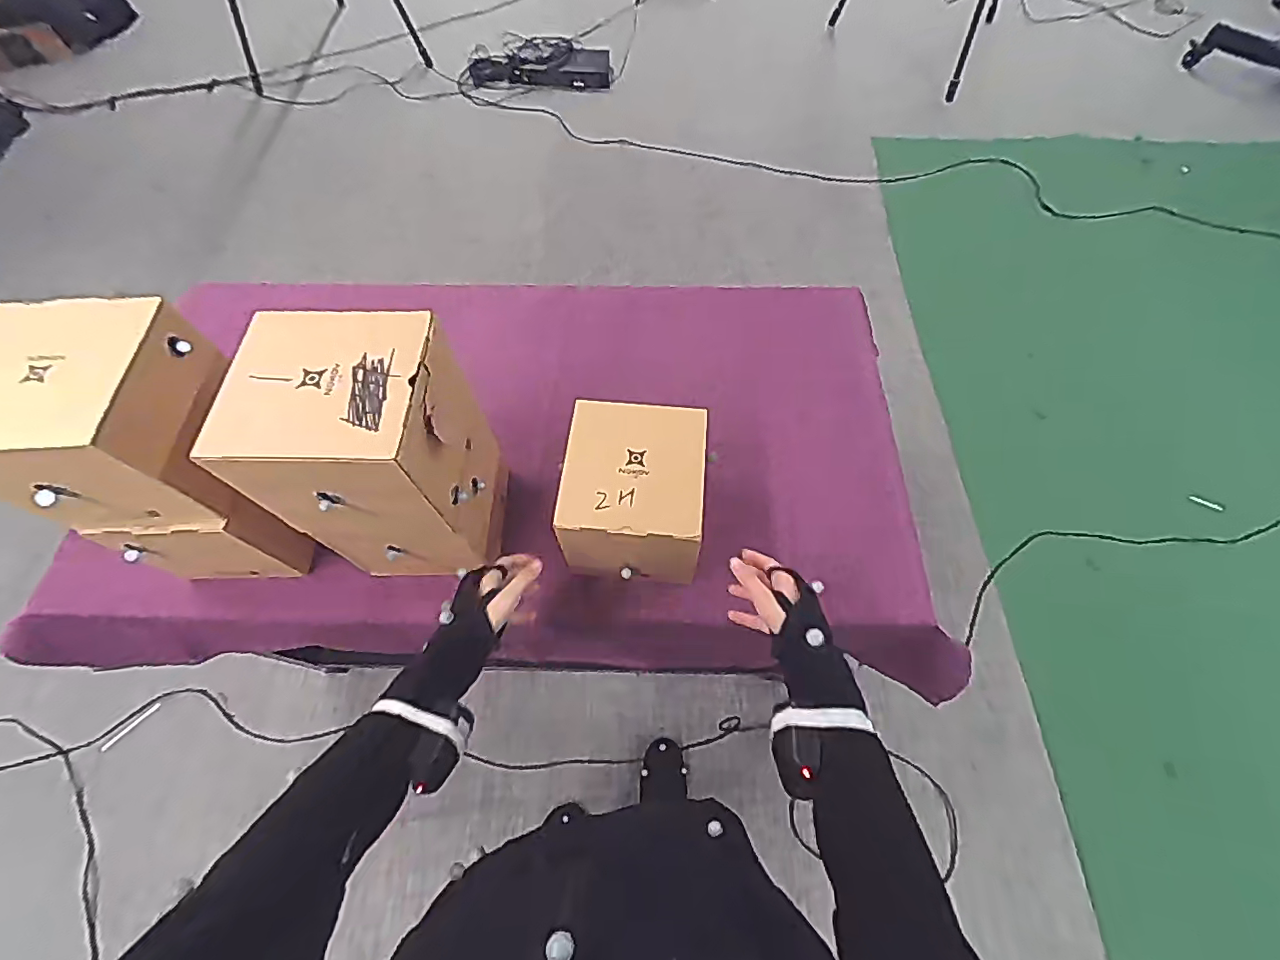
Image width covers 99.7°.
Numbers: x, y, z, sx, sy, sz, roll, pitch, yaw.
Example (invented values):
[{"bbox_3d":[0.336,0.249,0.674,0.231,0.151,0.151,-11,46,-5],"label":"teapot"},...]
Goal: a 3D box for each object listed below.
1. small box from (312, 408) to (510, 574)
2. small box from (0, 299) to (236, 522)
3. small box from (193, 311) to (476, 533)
[{"bbox_3d":[-0.283,0.021,0.705,0.179,0.176,0.168,-1,63,1],"label":"small box"},{"bbox_3d":[-0.544,-0.062,0.569,0.168,0.176,0.179,-3,61,-1],"label":"small box"},{"bbox_3d":[-0.284,-0.052,0.556,0.179,0.176,0.168,0,62,2],"label":"small box"}]
